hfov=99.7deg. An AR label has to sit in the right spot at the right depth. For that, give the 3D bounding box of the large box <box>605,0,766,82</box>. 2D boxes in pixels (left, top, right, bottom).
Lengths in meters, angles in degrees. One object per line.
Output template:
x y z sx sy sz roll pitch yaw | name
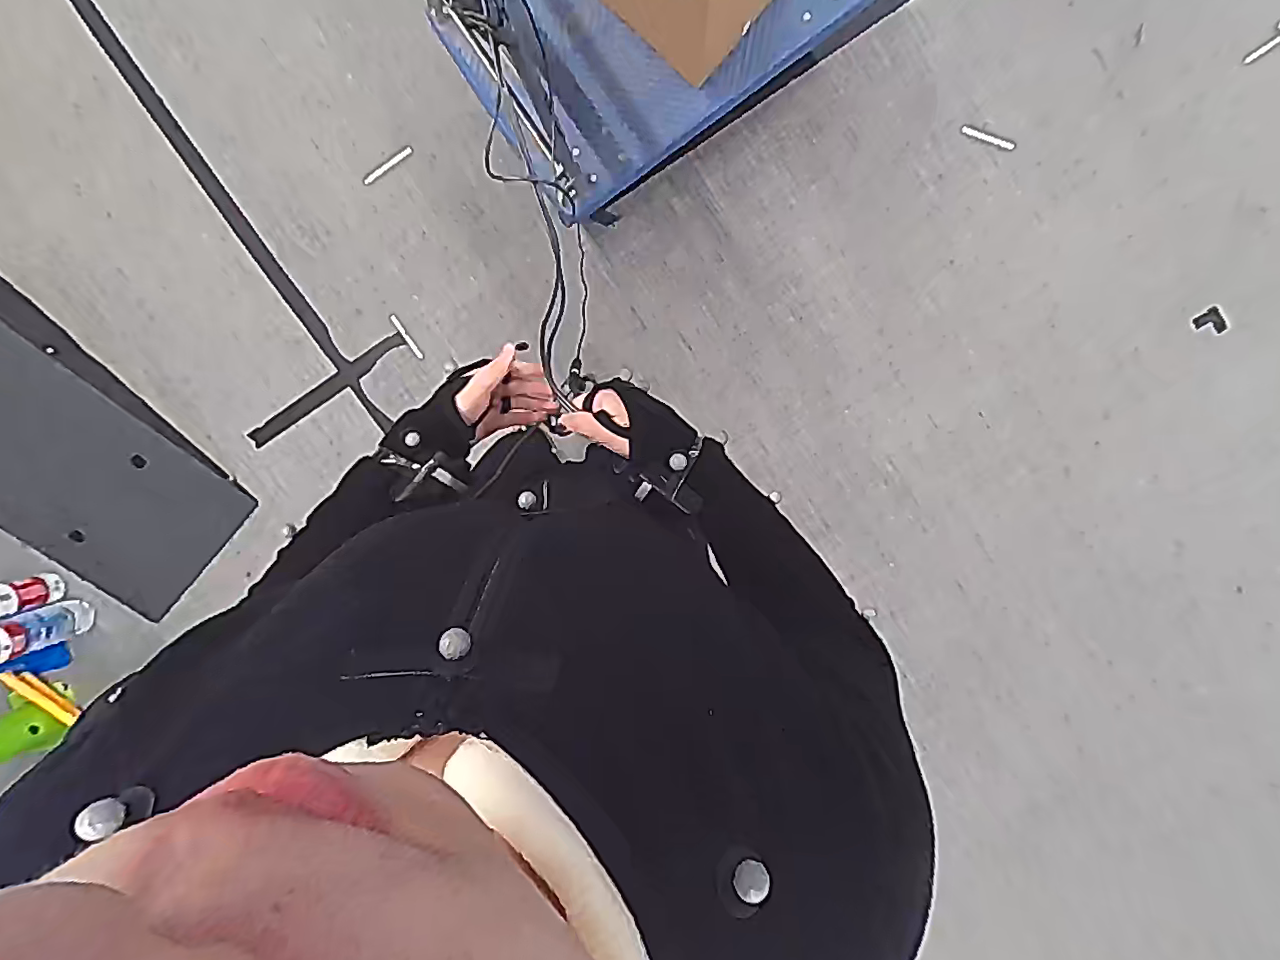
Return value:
0.075 -1.104 1.033 0.408 0.320 0.320 41 97 -4 | large box
